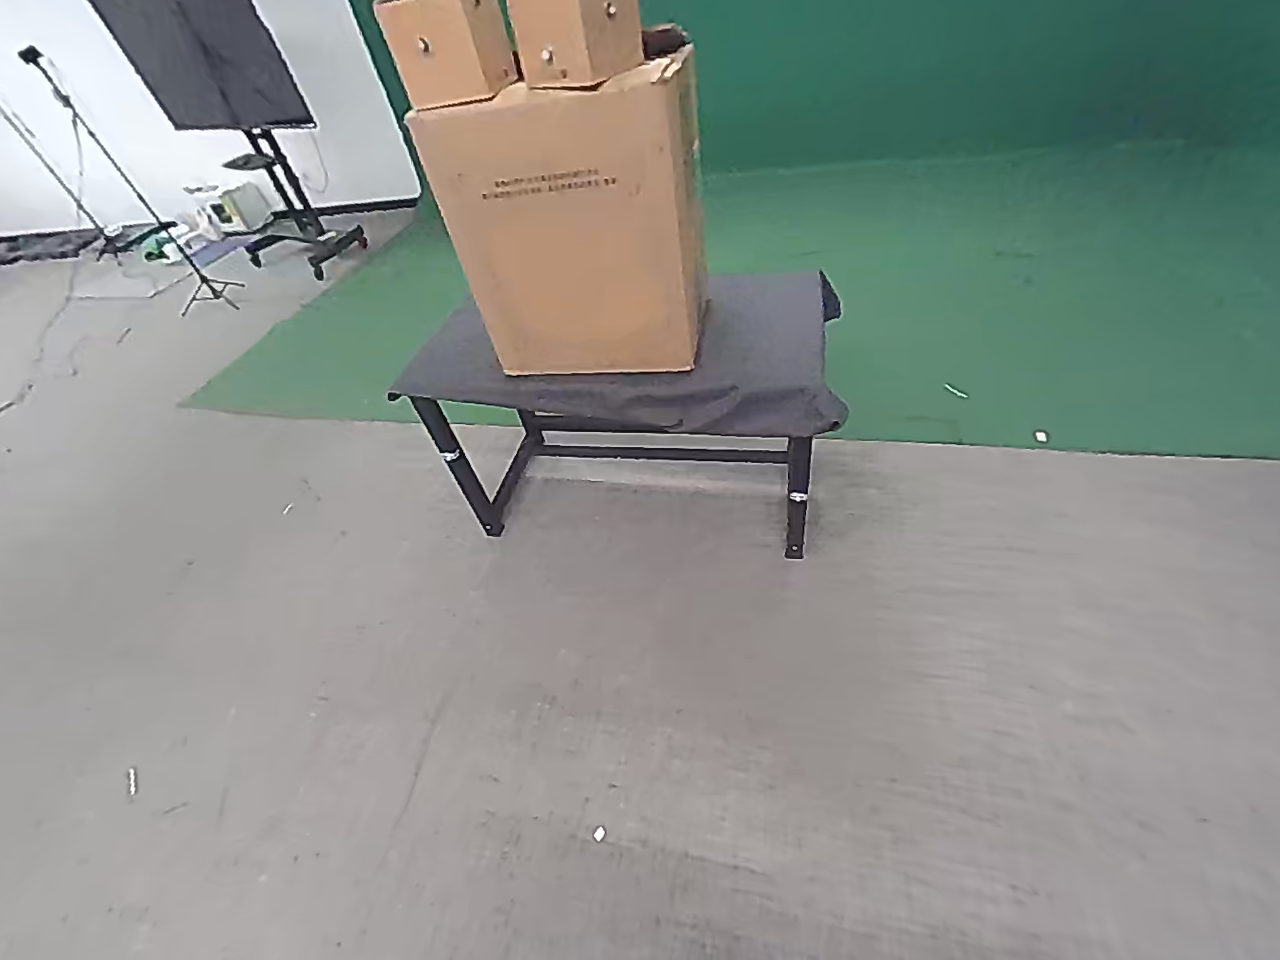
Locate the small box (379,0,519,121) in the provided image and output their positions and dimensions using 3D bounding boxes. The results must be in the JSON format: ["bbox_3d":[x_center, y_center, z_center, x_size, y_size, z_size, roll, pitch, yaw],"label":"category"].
[{"bbox_3d":[-0.370,-0.843,1.081,0.179,0.176,0.168,0,47,15],"label":"small box"}]

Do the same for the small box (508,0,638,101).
[{"bbox_3d":[-0.118,-0.838,1.017,0.168,0.176,0.179,21,54,29],"label":"small box"}]
